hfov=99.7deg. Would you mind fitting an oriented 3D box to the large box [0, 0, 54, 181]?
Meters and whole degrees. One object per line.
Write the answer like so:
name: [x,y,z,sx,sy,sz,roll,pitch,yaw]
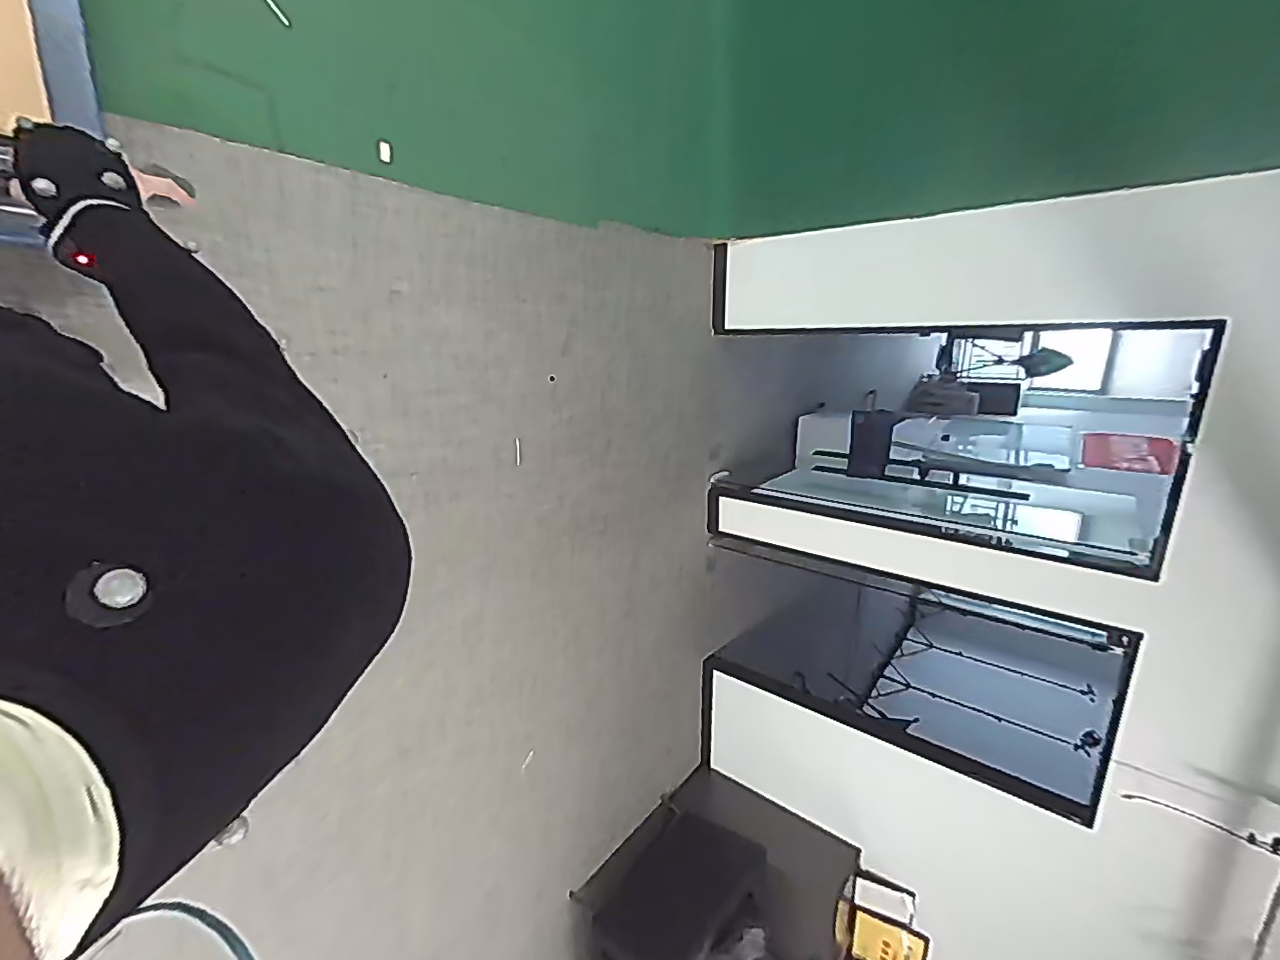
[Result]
large box: [-1.054,-0.668,0.707,0.320,0.320,0.408,-16,110,-50]
